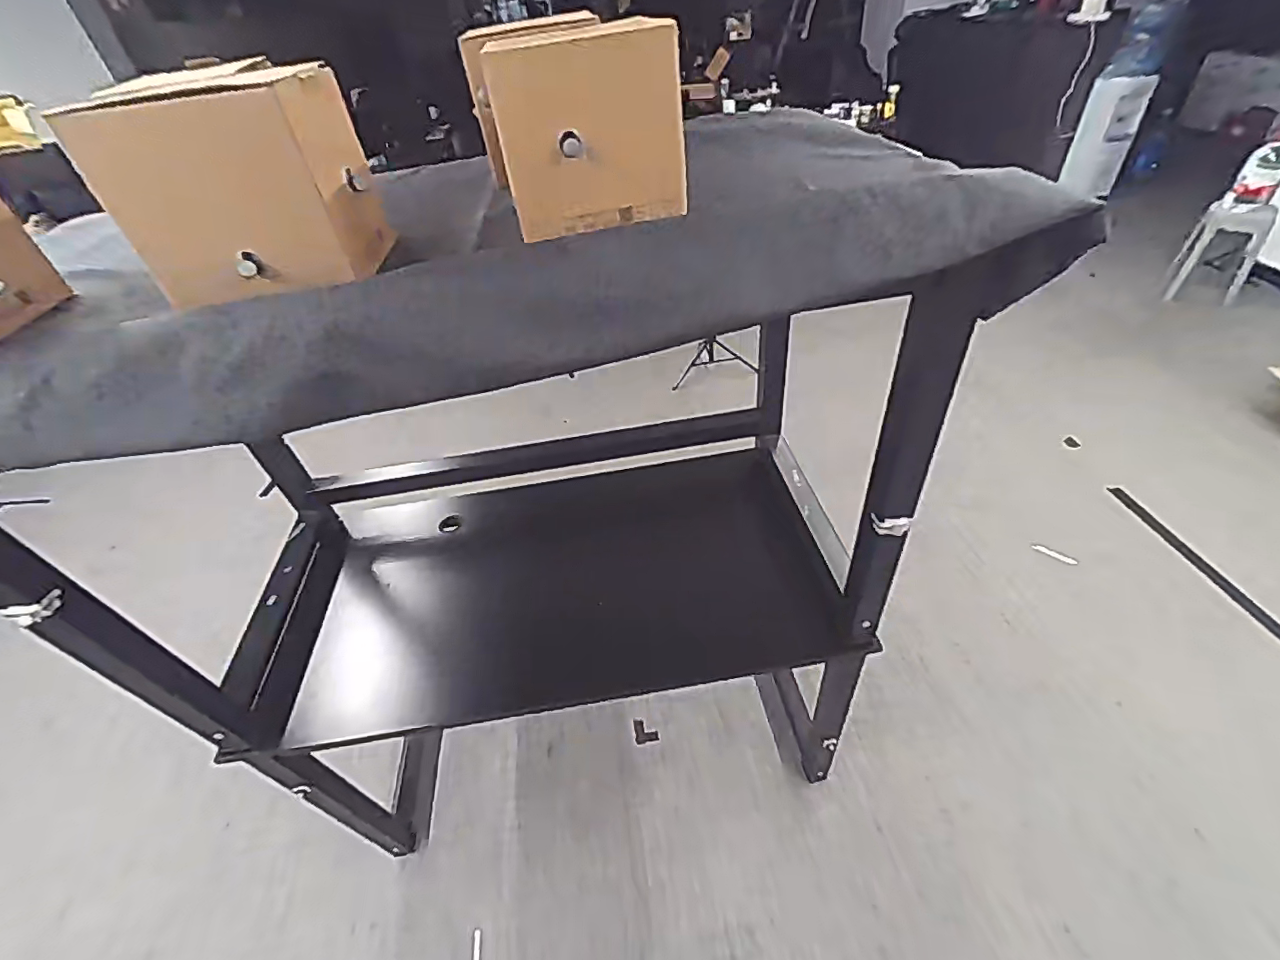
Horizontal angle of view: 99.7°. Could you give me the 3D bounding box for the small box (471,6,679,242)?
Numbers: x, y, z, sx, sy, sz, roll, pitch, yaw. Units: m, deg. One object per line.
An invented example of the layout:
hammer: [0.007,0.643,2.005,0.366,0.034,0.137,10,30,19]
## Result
small box: [-0.061,-0.357,0.551,0.168,0.176,0.179,-12,41,-3]

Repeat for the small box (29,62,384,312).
small box: [-0.374,-0.280,0.518,0.179,0.176,0.168,-10,41,-3]

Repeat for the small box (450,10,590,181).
small box: [-0.144,-0.538,0.761,0.179,0.176,0.168,-10,43,-2]
